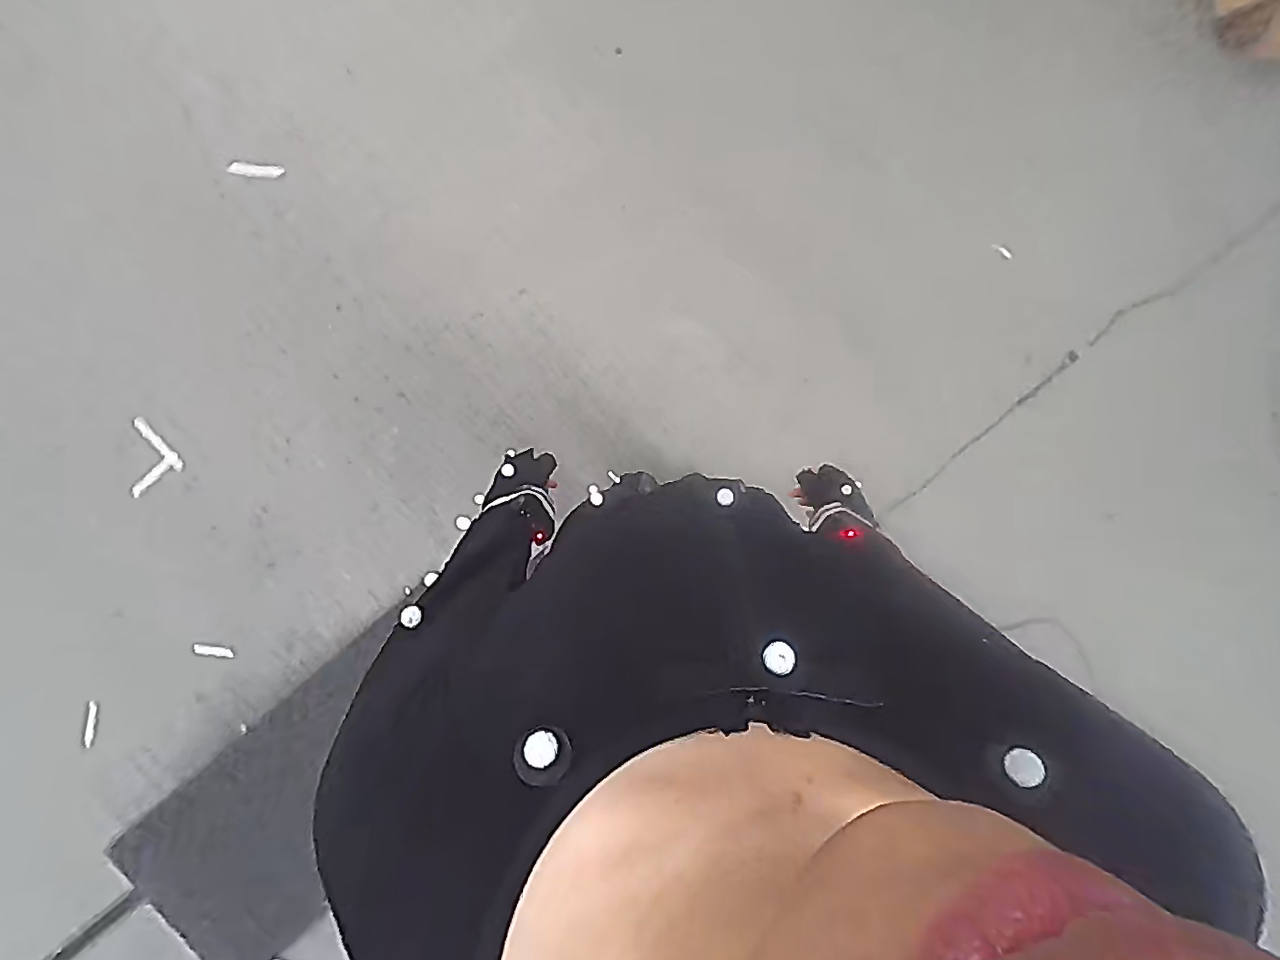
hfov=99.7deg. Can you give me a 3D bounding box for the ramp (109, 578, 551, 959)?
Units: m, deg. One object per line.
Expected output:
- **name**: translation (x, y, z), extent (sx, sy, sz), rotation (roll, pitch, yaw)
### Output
- **ramp**: translation (-0.769, 0.760, 1.408), extent (0.991, 0.206, 0.509), rotation (-43, 90, 0)
